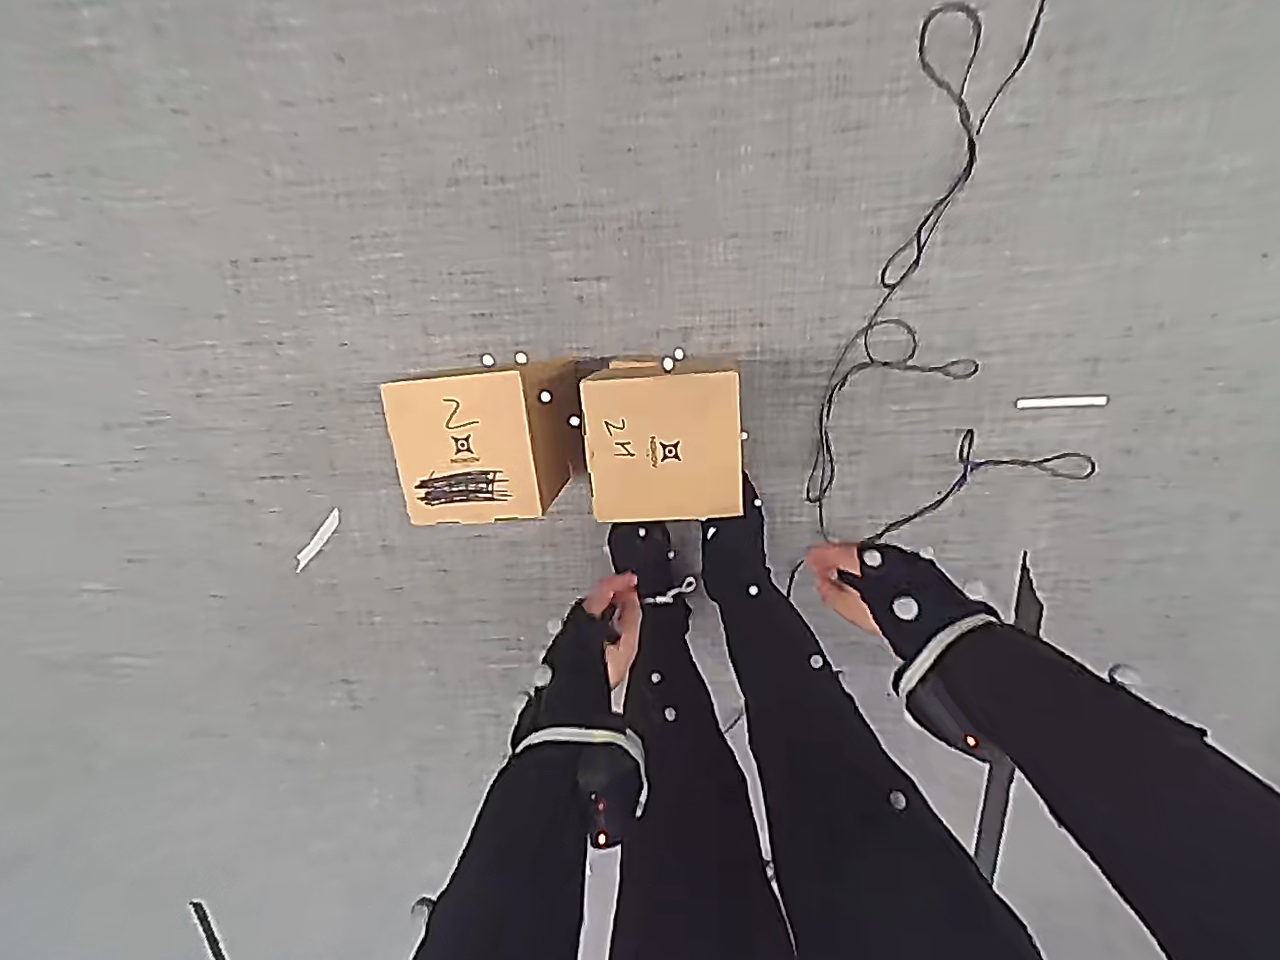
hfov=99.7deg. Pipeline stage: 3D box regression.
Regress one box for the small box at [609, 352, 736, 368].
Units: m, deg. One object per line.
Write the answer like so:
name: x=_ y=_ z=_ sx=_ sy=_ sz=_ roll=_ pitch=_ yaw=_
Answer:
small box: x=0.047 y=-0.107 z=0.832 sx=0.179 sy=0.176 sz=0.168 roll=3 pitch=107 yaw=3

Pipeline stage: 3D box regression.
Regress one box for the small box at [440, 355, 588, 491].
small box: x=-0.186 y=-0.099 z=0.855 sx=0.168 sy=0.176 sz=0.179 roll=-9 pitch=106 yaw=7

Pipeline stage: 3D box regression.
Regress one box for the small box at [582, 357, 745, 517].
small box: x=0.033 y=-0.061 z=0.675 sx=0.179 sy=0.176 sz=0.168 roll=-3 pitch=106 yaw=6
